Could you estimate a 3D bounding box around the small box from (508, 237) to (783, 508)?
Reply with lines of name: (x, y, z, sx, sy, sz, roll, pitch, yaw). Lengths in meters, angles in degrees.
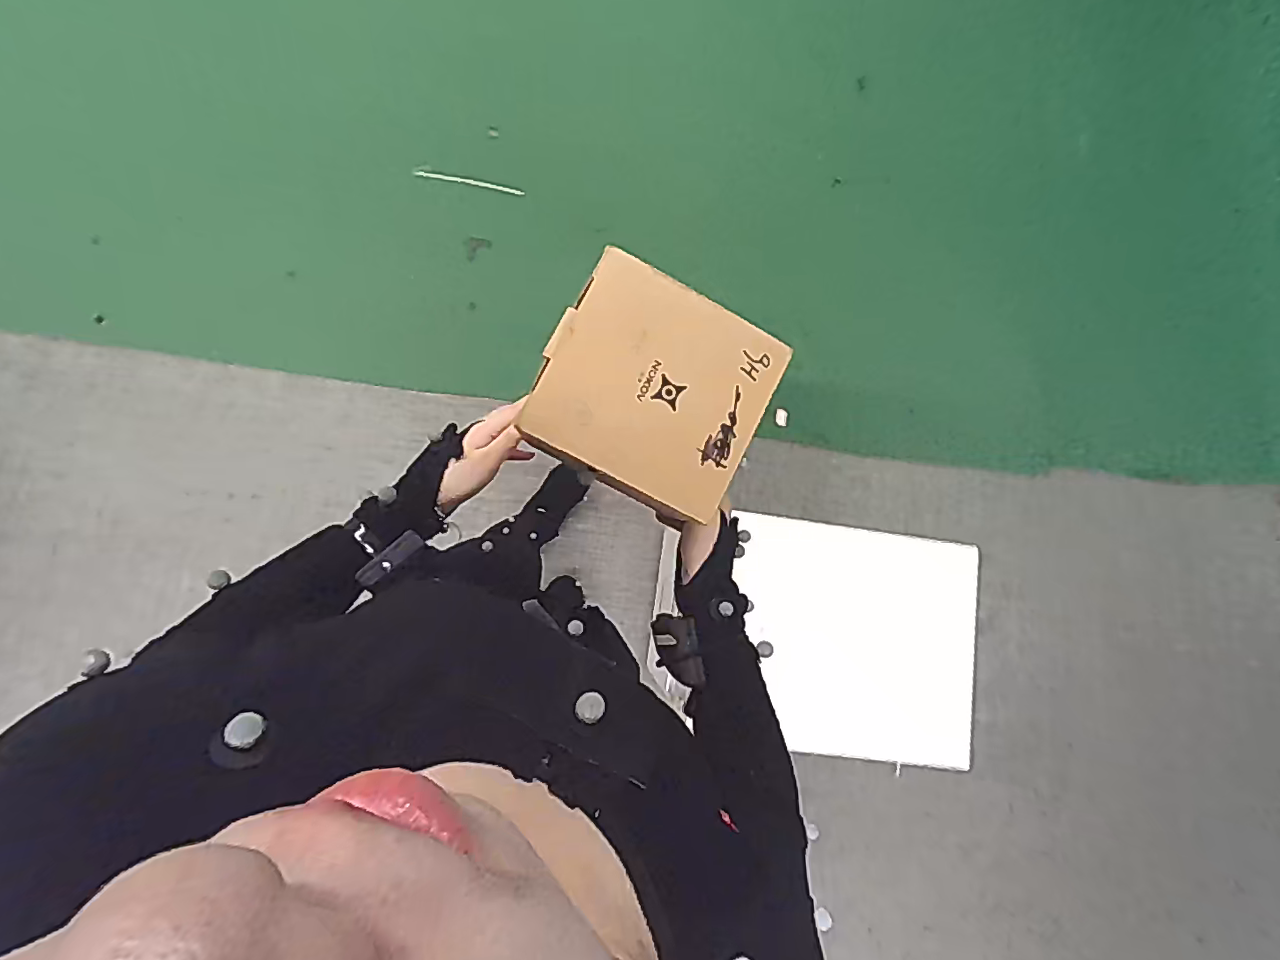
small box: (-0.004, -0.082, 0.511, 0.179, 0.176, 0.168, 27, 85, -8)
